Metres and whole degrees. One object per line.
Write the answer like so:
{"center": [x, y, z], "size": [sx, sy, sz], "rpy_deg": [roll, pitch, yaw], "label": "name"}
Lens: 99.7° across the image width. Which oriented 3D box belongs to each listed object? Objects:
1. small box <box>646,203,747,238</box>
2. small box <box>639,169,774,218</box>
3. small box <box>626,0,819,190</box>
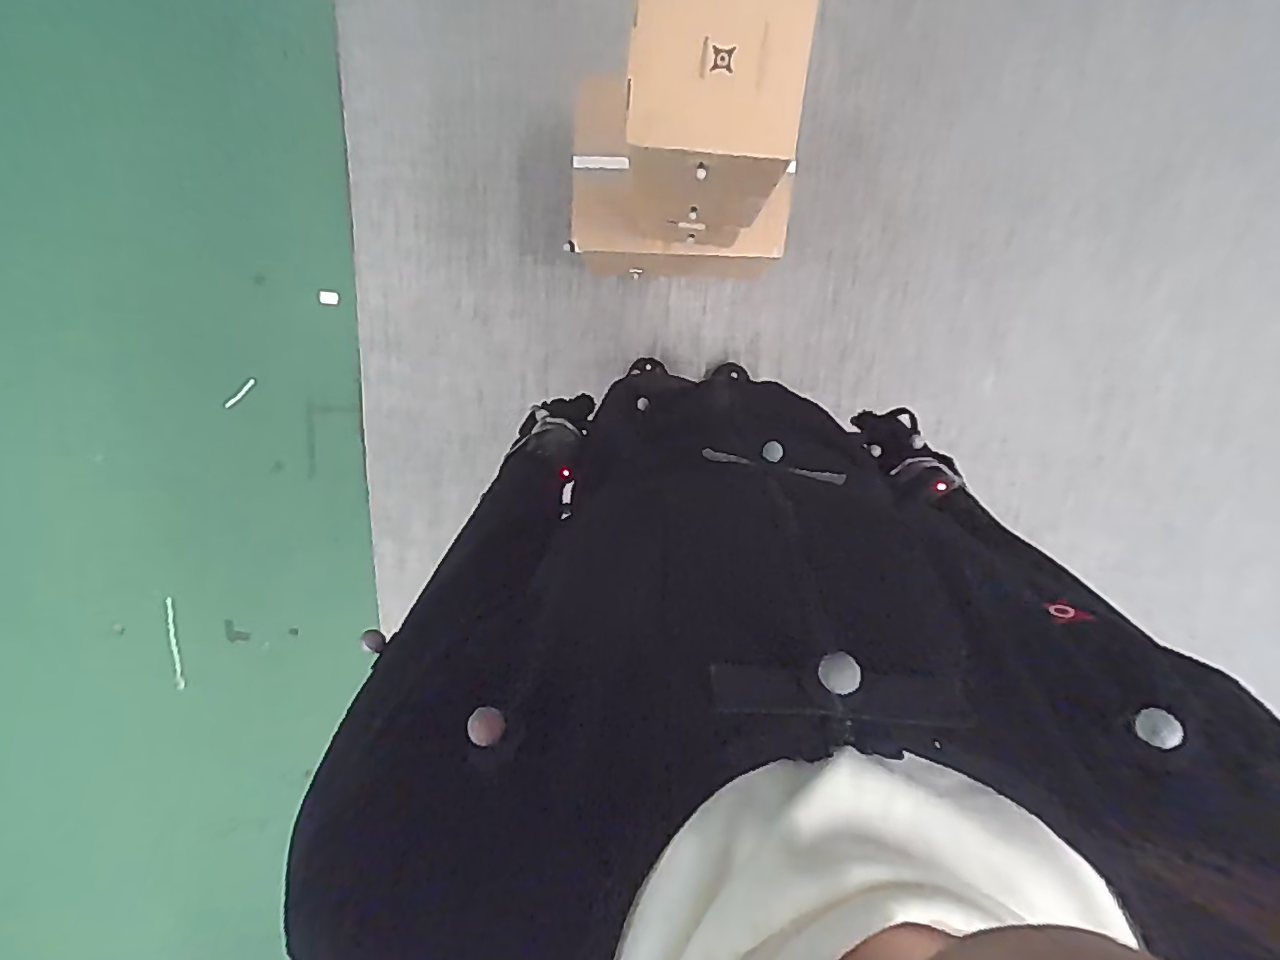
{"center": [0.107, -0.520, 0.915], "size": [0.168, 0.176, 0.179], "rpy_deg": [7, 106, 4], "label": "small box"}
{"center": [0.099, -0.475, 0.757], "size": [0.179, 0.176, 0.168], "rpy_deg": [7, 105, 5], "label": "small box"}
{"center": [0.086, -0.436, 0.601], "size": [0.179, 0.176, 0.168], "rpy_deg": [6, 106, 3], "label": "small box"}
